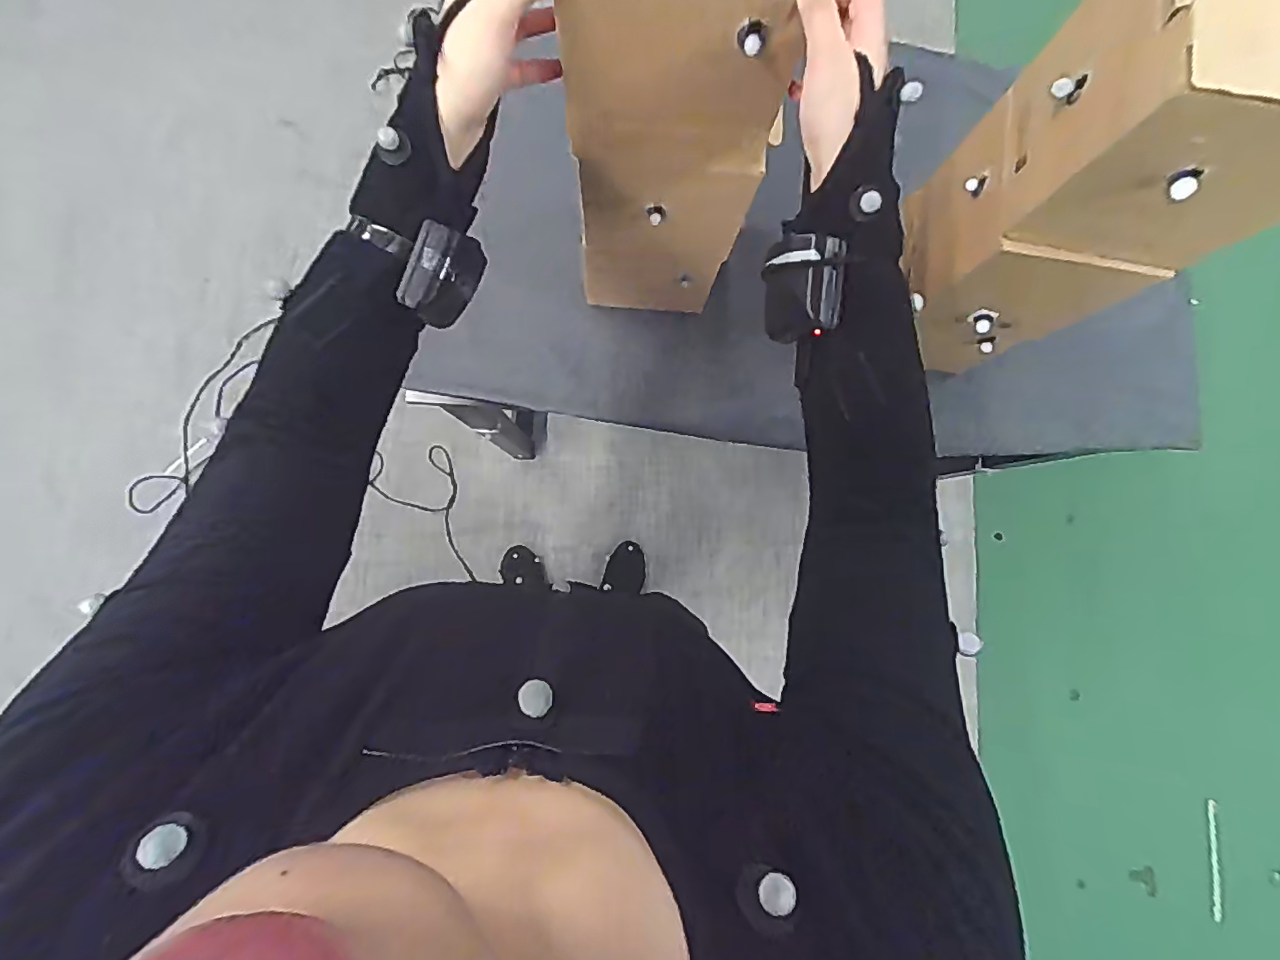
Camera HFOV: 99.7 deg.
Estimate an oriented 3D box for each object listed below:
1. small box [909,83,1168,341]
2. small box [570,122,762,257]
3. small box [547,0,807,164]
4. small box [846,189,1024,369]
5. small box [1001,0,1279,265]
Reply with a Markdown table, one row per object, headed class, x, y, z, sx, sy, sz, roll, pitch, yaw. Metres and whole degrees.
| class | x | y | z | sx | sy | sz | roll | pitch | yaw |
| --- | --- | --- | --- | --- | --- | --- | --- | --- | --- |
| small box | 0.417 | -0.274 | 0.587 | 0.168 | 0.176 | 0.179 | 9 | 84 | 0 |
| small box | 0.024 | -0.359 | 0.579 | 0.179 | 0.176 | 0.168 | 3 | 85 | -2 |
| small box | 0.022 | -0.376 | 0.418 | 0.179 | 0.176 | 0.168 | 1 | 85 | -3 |
| small box | 0.412 | -0.263 | 0.749 | 0.179 | 0.176 | 0.168 | 8 | 83 | -2 |
| small box | 0.425 | -0.294 | 0.425 | 0.179 | 0.176 | 0.168 | 11 | 83 | 0 |
